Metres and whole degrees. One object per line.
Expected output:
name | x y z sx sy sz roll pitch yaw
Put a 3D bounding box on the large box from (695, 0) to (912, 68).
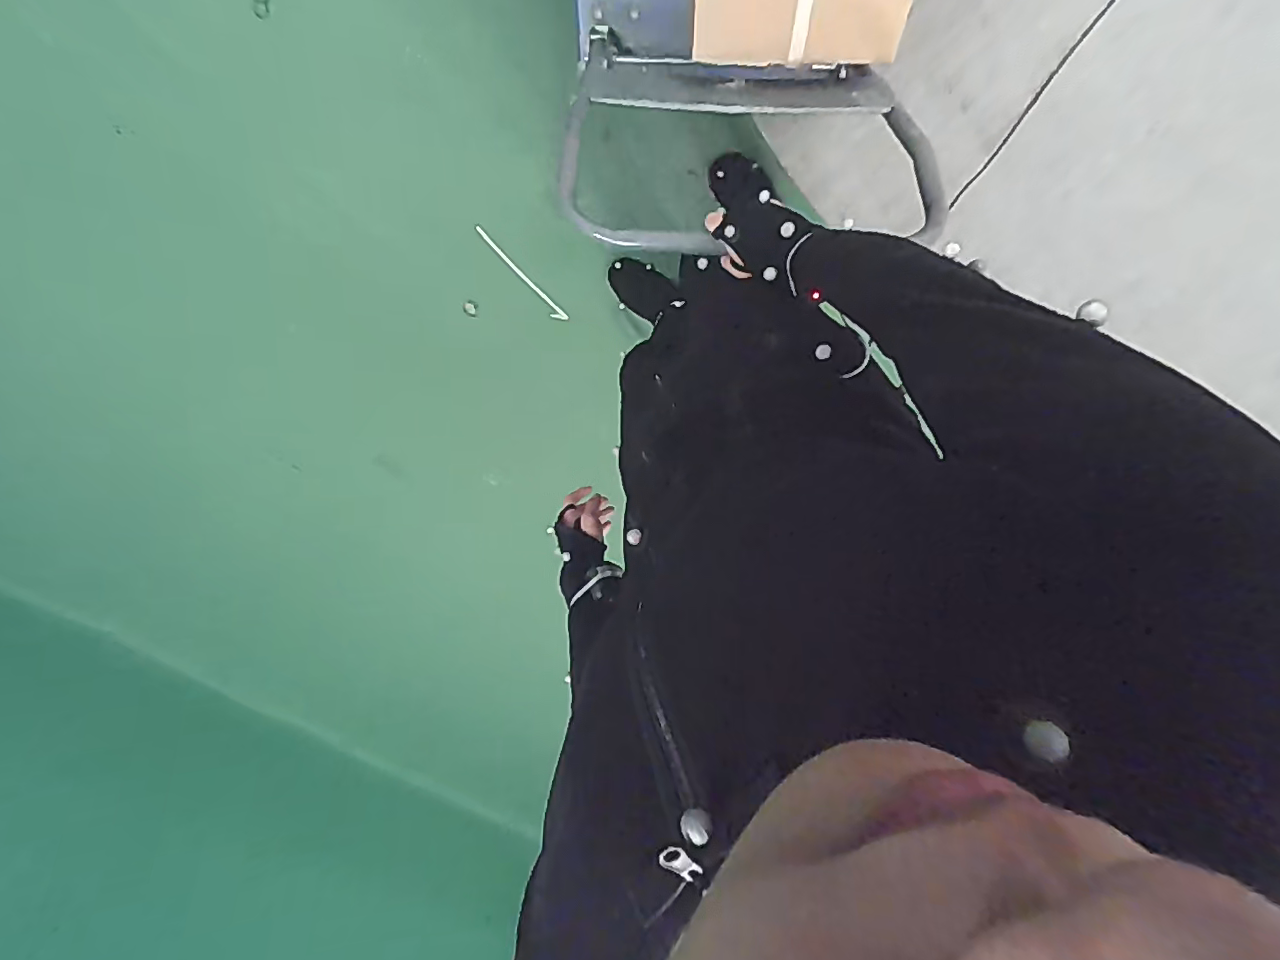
large box | 0.246 -0.891 0.802 0.320 0.320 0.408 1 137 1
